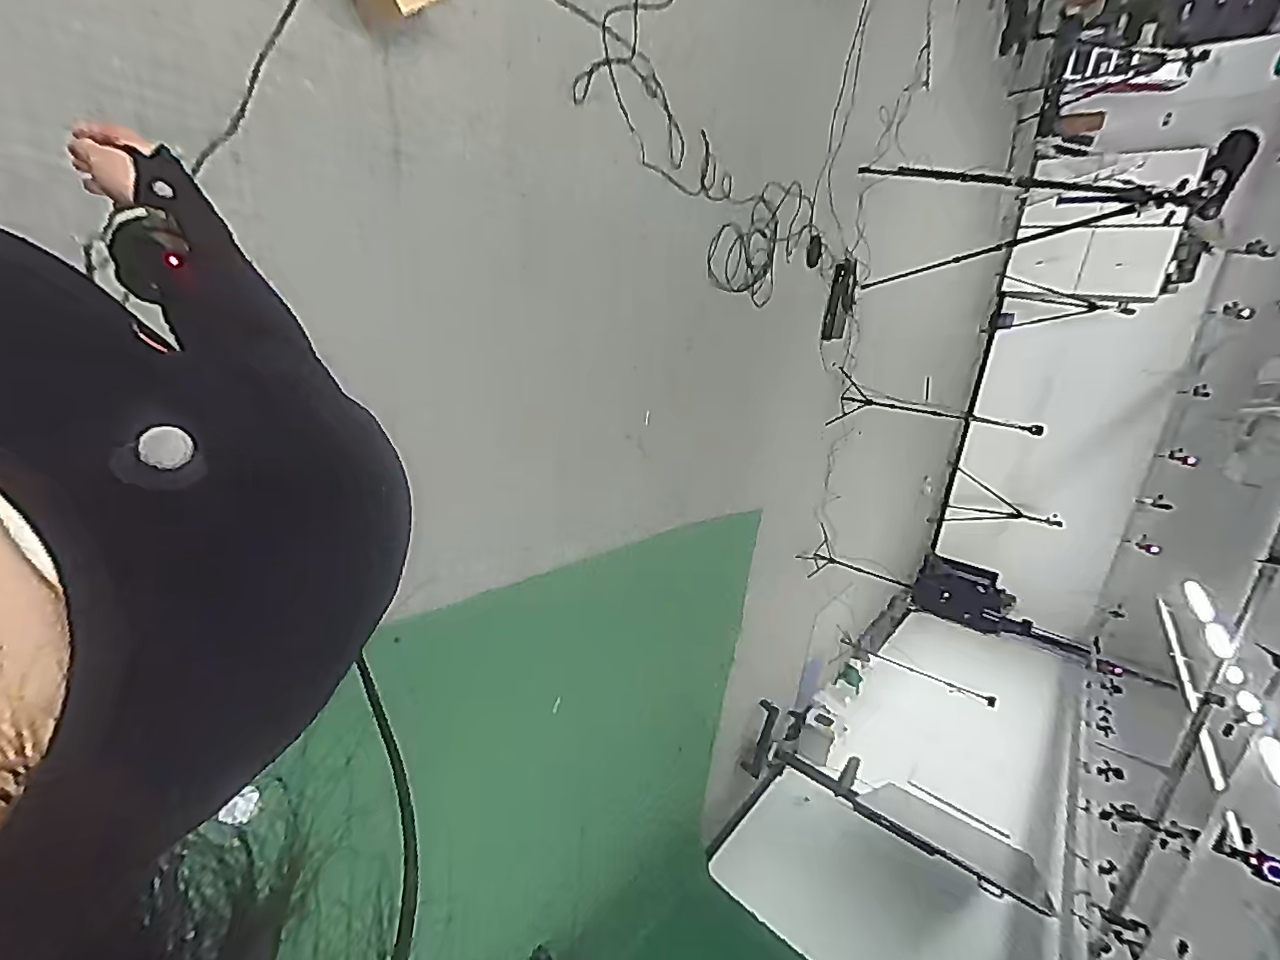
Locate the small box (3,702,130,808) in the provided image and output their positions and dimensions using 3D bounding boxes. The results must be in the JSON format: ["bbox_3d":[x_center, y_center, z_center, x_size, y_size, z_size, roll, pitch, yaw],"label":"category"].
[{"bbox_3d":[-1.119,0.582,1.071,0.168,0.176,0.179,-13,113,-48],"label":"small box"}]

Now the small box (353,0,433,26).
[{"bbox_3d":[-0.546,-1.130,1.177,0.179,0.176,0.168,-50,139,-26],"label":"small box"}]
